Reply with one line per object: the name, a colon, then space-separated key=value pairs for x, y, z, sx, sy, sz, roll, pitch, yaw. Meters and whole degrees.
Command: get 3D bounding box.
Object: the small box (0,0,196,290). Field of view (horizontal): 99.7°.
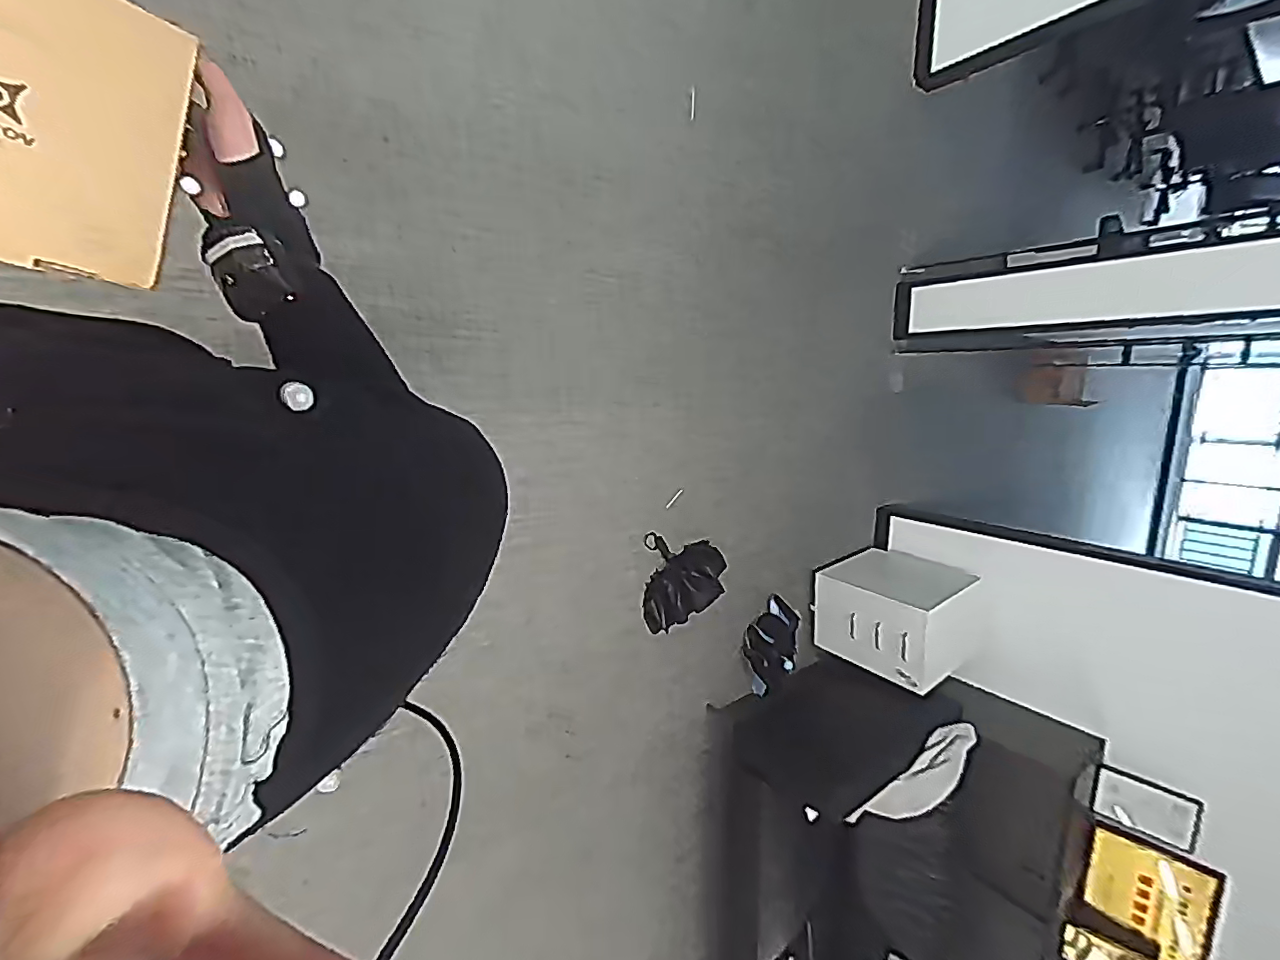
small box: x=-0.433 y=-0.256 z=0.377 sx=0.168 sy=0.176 sz=0.179 roll=7 pitch=107 yaw=-45
